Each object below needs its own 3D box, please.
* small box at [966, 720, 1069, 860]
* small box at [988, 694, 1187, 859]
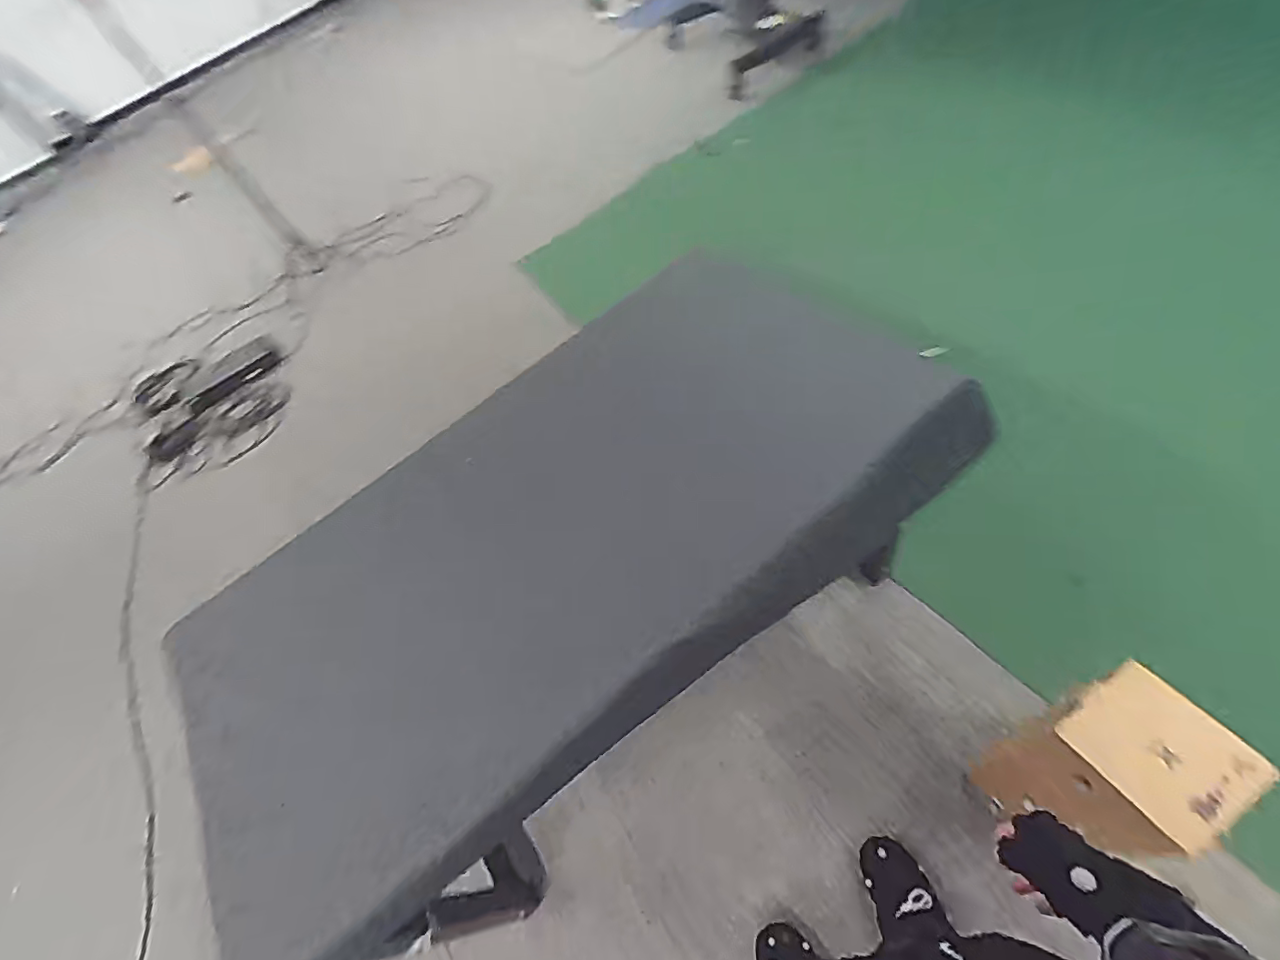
[{"bbox_3d":[0.764,0.588,1.037,0.179,0.176,0.168,-36,53,-8],"label":"small box"},{"bbox_3d":[0.727,0.495,0.905,0.179,0.176,0.168,-35,53,-8],"label":"small box"}]
